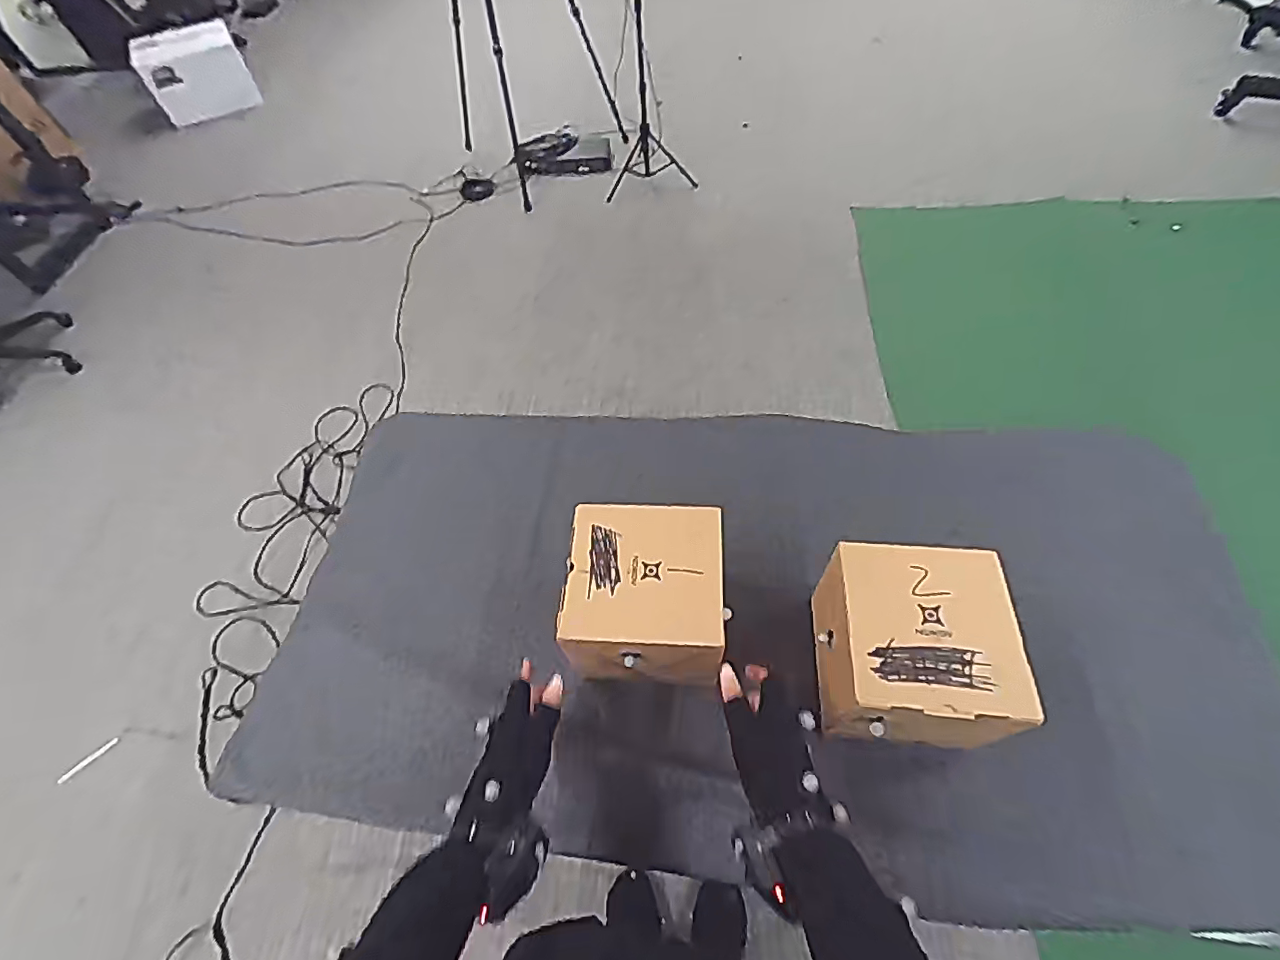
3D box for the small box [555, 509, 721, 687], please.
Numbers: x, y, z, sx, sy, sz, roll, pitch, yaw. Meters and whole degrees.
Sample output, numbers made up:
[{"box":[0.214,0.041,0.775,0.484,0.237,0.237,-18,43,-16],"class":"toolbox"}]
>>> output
[{"box":[0.008,0.150,0.667,0.179,0.176,0.168,1,56,5],"class":"small box"}]
